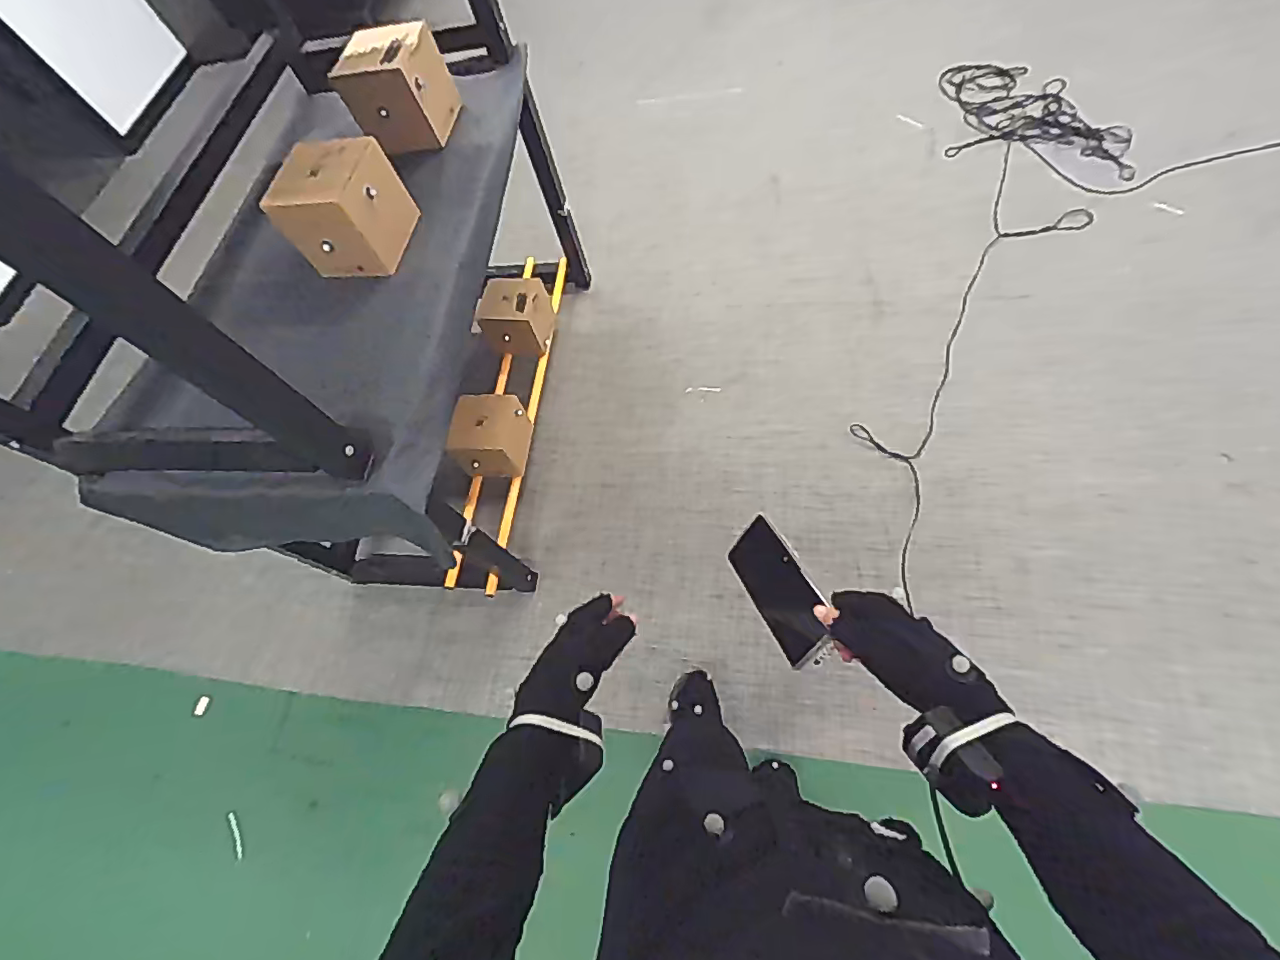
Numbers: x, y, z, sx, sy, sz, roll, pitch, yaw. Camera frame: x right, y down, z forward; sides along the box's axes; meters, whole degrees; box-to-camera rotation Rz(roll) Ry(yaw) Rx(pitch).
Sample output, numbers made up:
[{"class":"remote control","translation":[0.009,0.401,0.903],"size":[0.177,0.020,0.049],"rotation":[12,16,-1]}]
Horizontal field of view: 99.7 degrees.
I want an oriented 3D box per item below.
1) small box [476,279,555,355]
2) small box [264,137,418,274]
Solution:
[{"class":"small box","translation":[-0.383,-0.509,1.702],"size":[0.179,0.176,0.168],"rotation":[4,65,12]},{"class":"small box","translation":[-0.557,-0.517,1.037],"size":[0.168,0.176,0.179],"rotation":[4,66,12]}]
